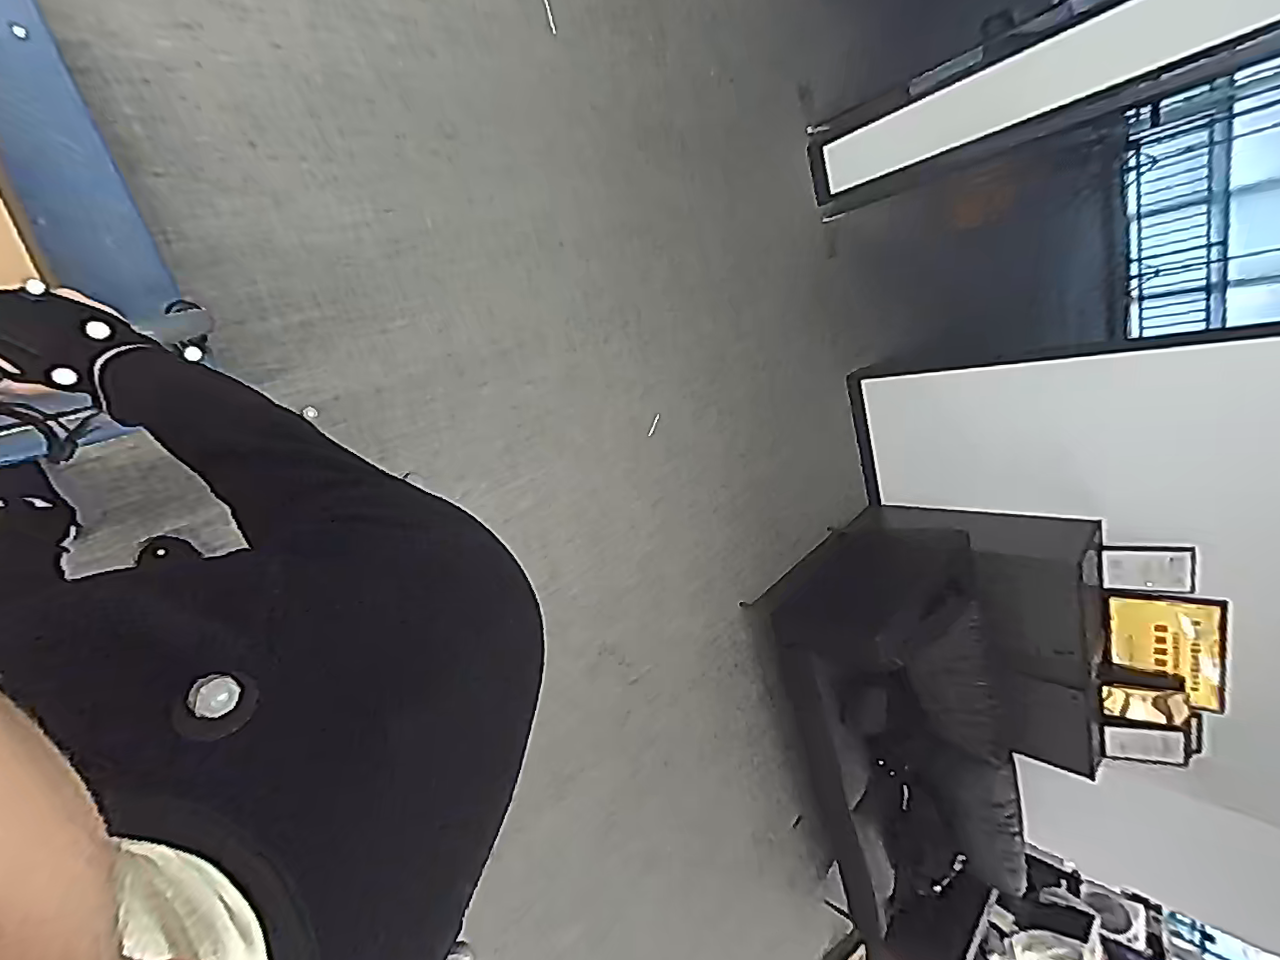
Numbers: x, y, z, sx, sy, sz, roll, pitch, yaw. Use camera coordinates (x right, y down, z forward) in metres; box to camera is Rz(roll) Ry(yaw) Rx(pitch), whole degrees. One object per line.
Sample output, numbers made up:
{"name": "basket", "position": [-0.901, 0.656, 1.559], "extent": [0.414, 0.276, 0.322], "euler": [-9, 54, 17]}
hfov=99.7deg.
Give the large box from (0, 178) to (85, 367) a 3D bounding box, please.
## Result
{"name": "large box", "position": [-1.095, -0.360, 0.756], "extent": [0.320, 0.320, 0.408], "euler": [-25, 108, -37]}
